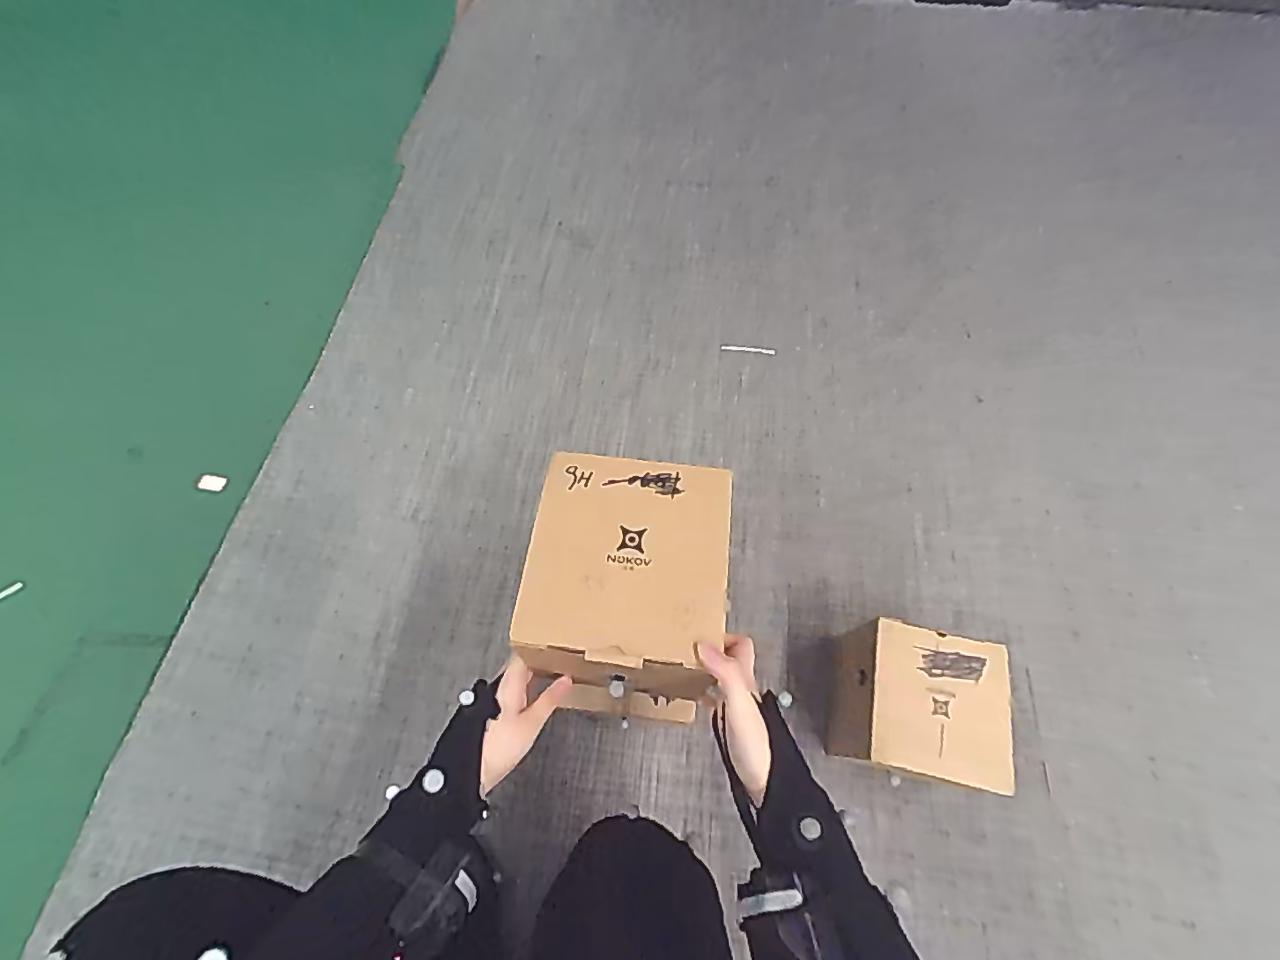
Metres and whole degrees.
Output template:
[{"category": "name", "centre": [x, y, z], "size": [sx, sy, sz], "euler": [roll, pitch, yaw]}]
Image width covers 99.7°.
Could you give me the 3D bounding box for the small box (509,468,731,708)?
[{"category": "small box", "centre": [-0.010, 0.112, 0.518], "size": [0.168, 0.176, 0.179], "euler": [7, 61, 3]}]

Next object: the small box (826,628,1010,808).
[{"category": "small box", "centre": [0.364, 0.321, 0.736], "size": [0.168, 0.176, 0.179], "euler": [12, 64, 6]}]
